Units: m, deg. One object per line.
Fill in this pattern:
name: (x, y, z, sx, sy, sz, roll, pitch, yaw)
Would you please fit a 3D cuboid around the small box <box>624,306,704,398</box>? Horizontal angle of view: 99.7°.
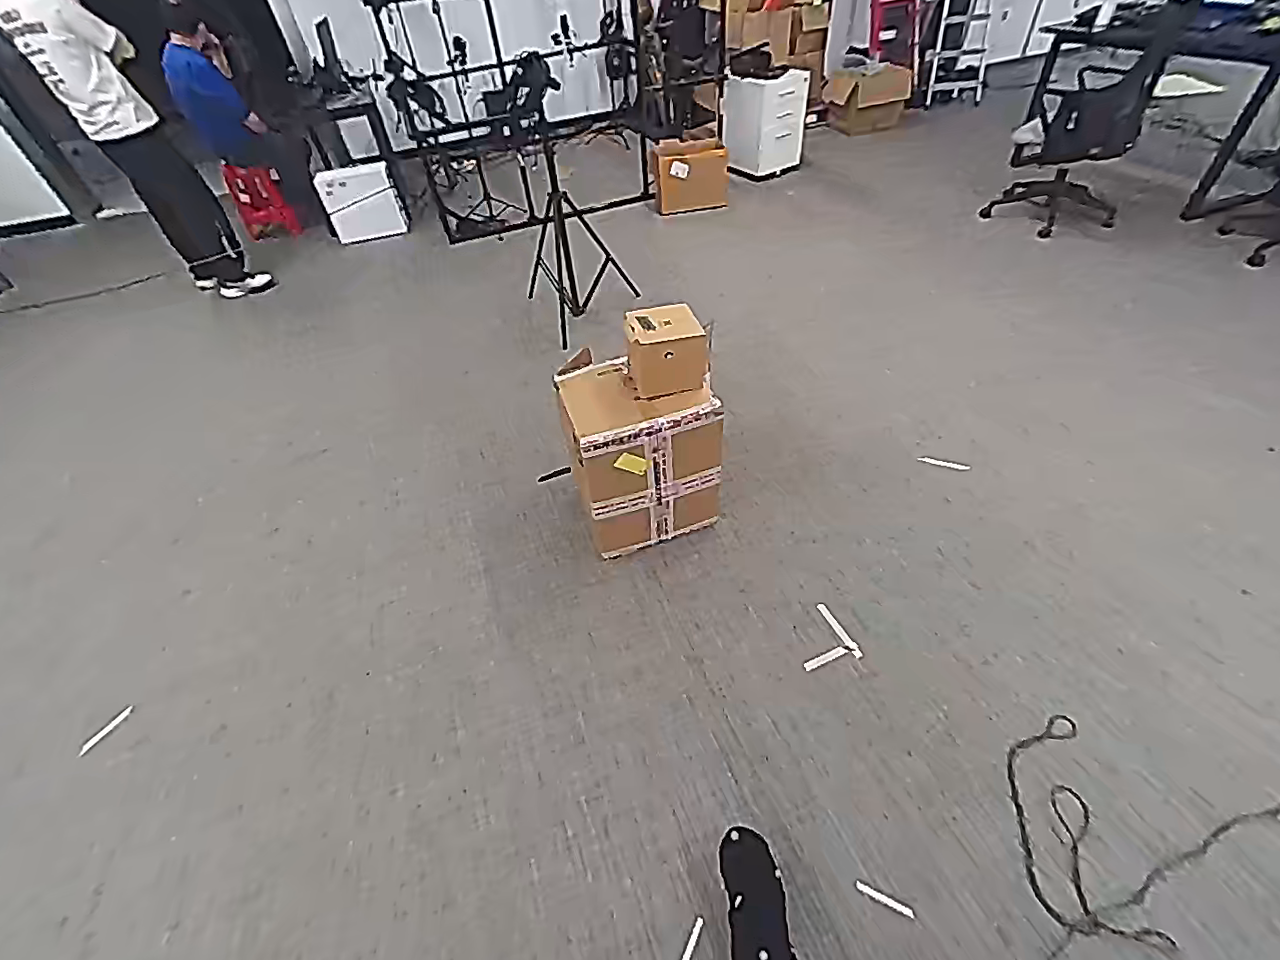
small box: (0.063, -0.341, 1.454, 0.179, 0.176, 0.168, -12, 47, -9)
